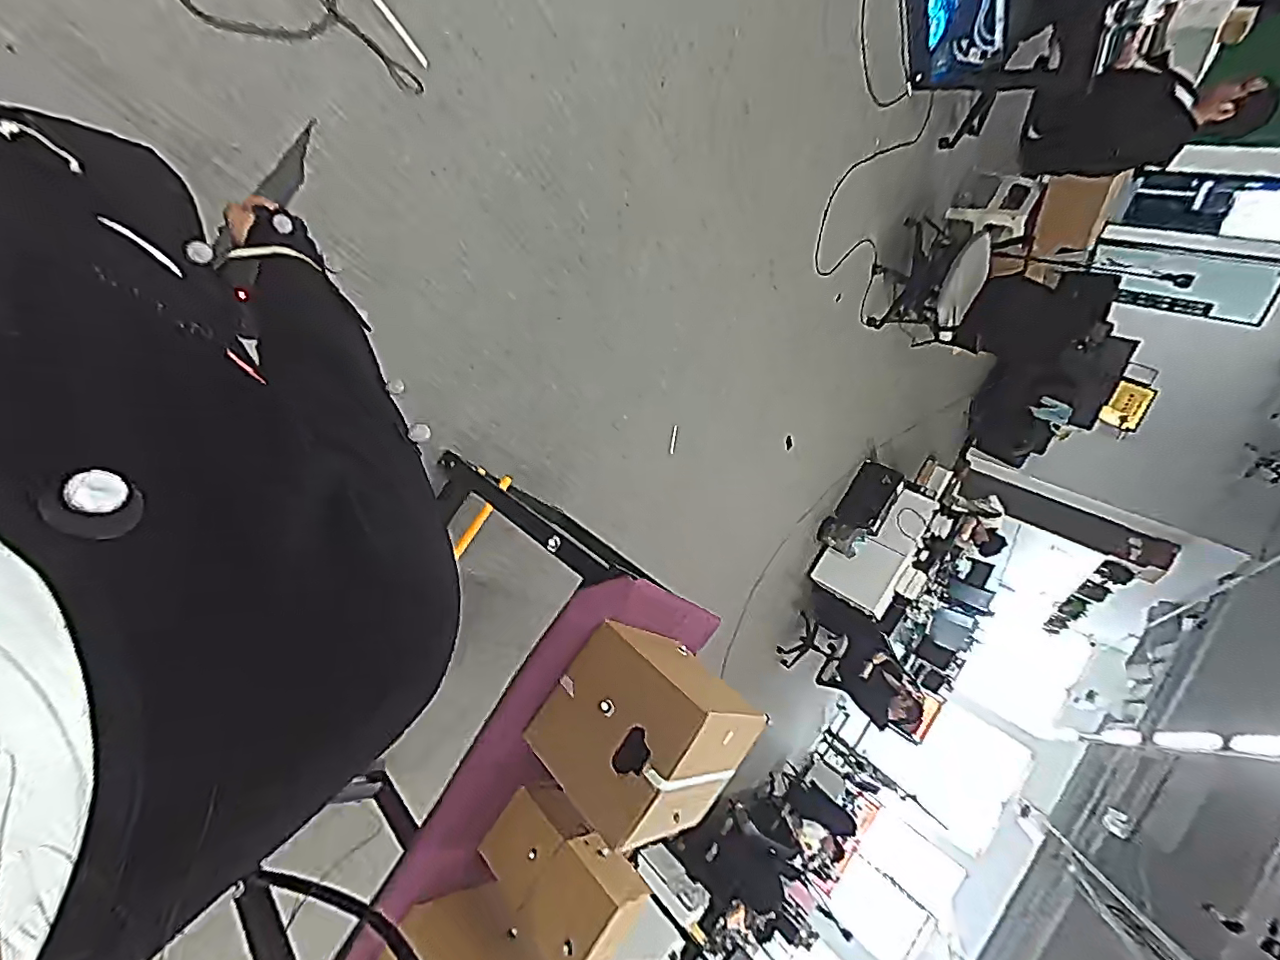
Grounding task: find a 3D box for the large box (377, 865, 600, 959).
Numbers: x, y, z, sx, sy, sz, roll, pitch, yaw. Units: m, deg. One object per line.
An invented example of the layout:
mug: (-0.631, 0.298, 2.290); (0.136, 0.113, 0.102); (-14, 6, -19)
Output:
large box: (-0.363, 1.137, 1.183); (0.320, 0.320, 0.408); (-57, 146, -4)
